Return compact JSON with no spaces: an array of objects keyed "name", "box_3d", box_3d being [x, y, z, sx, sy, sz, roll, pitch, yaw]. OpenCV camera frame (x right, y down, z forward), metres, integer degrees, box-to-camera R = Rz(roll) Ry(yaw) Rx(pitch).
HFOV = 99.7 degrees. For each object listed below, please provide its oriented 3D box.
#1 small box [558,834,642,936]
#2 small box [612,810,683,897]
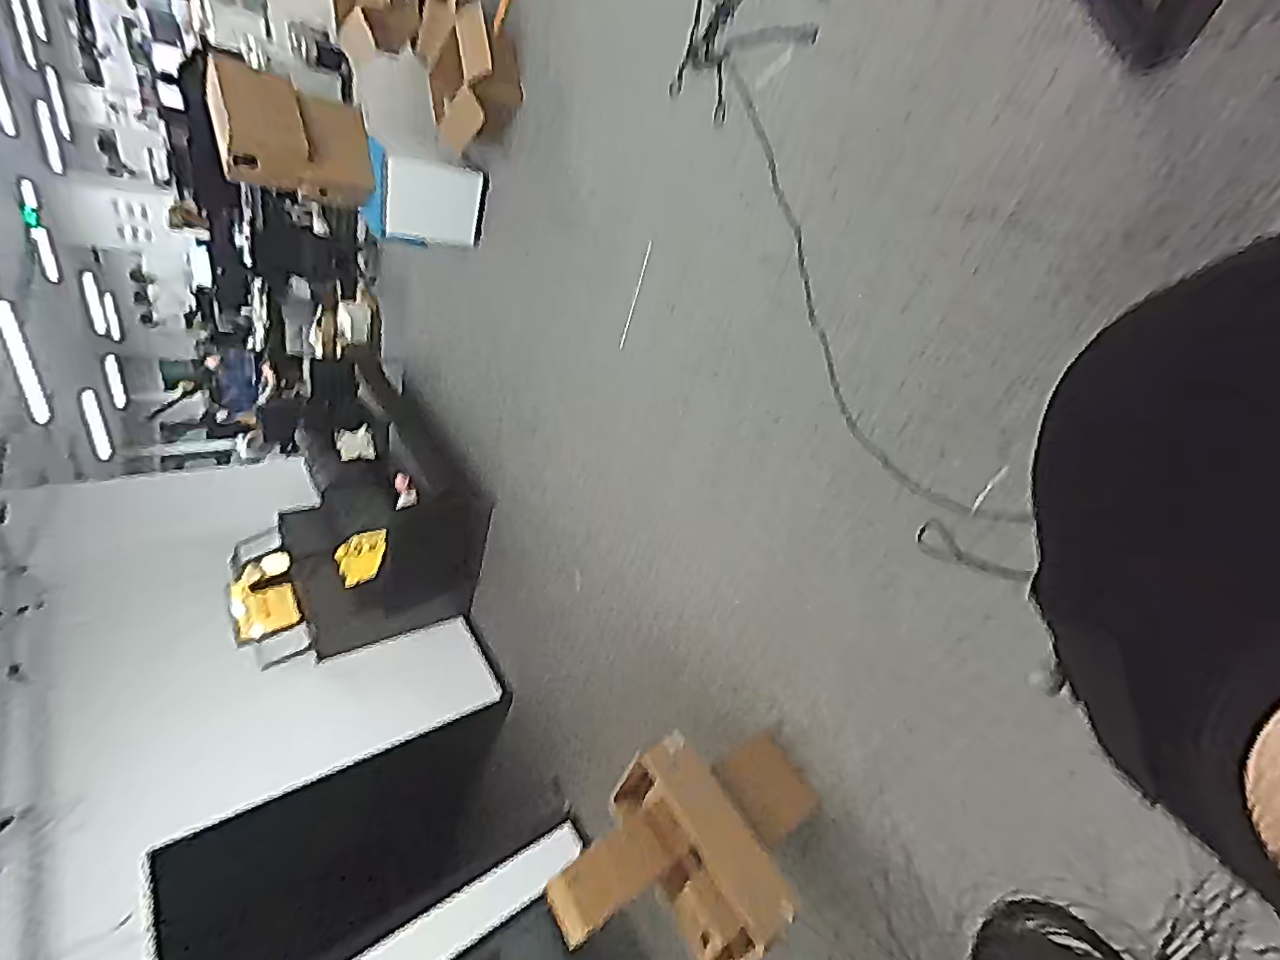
[{"name":"small box","box_3d":[-0.122,1.236,1.654,0.179,0.176,0.168,52,135,29]},{"name":"small box","box_3d":[0.005,1.210,1.752,0.179,0.176,0.168,50,134,29]}]
